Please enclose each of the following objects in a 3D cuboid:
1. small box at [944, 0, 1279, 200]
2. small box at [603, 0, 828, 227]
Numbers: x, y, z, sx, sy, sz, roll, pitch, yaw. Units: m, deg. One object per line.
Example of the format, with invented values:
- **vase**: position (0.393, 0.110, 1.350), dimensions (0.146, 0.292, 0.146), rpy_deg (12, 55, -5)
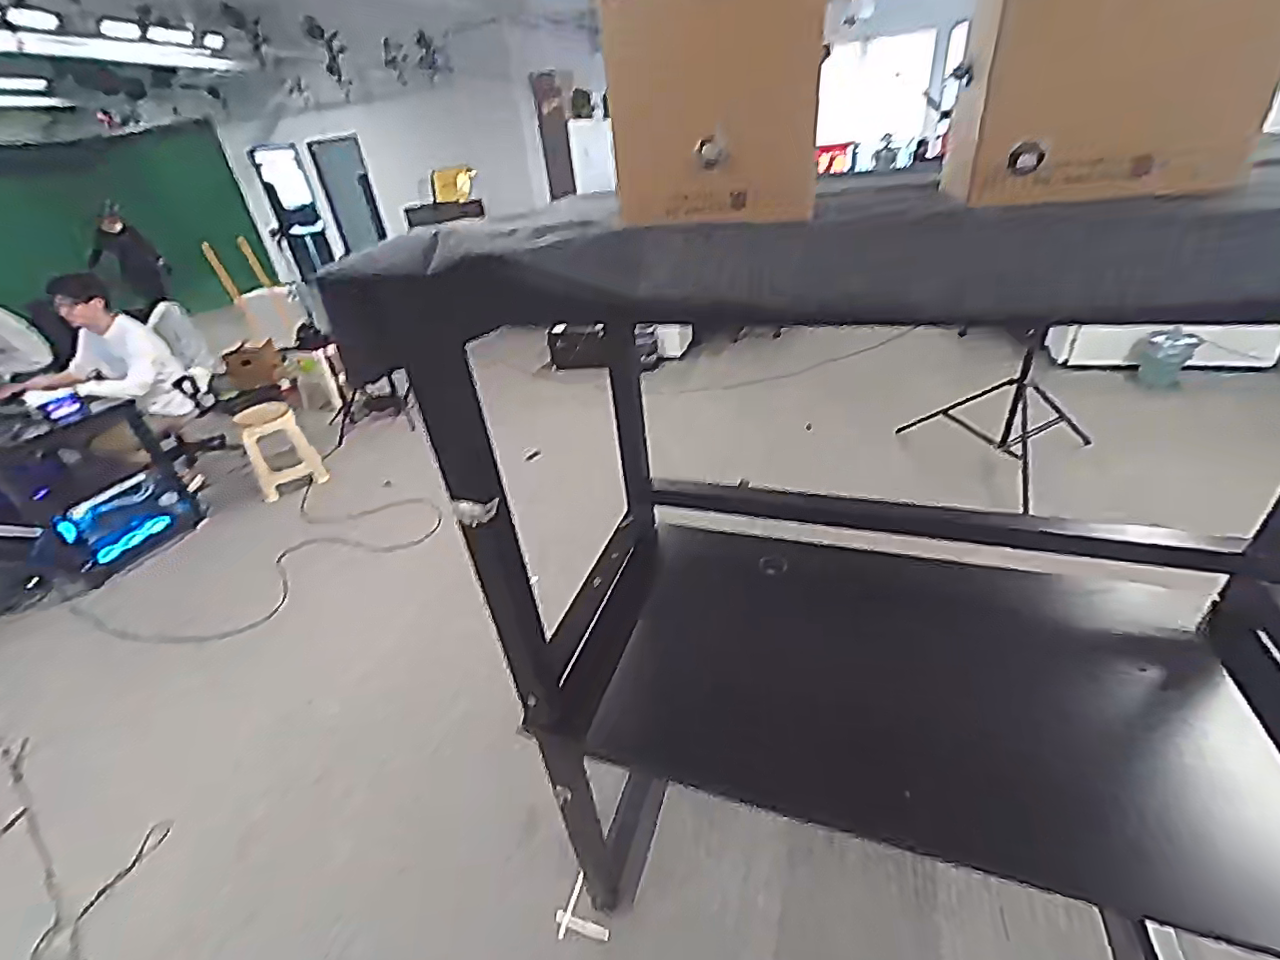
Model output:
- **small box**: position (0.348, -0.317, 0.416), dimensions (0.168, 0.176, 0.179), rpy_deg (5, 32, 19)
- **small box**: position (0.073, -0.332, 0.493), dimensions (0.168, 0.176, 0.179), rpy_deg (1, 31, 13)
